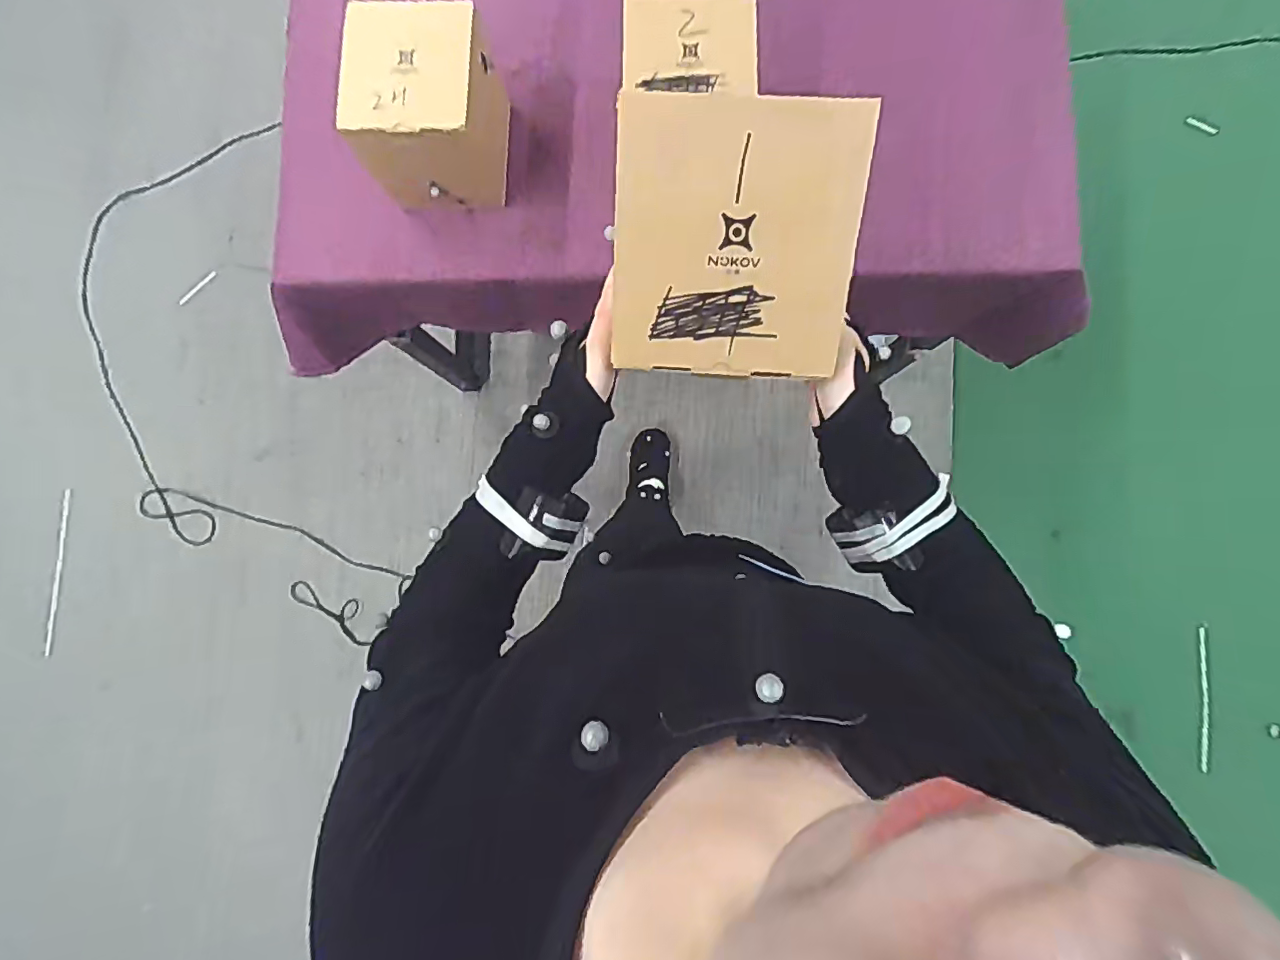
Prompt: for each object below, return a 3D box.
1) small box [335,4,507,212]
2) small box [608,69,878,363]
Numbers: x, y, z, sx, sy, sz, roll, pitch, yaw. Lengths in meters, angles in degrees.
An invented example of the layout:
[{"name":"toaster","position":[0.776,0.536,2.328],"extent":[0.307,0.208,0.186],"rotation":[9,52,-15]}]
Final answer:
[{"name":"small box","position":[-0.290,-0.506,0.753],"extent":[0.168,0.176,0.179],"rotation":[1,85,3]},{"name":"small box","position":[0.067,-0.199,0.439],"extent":[0.168,0.176,0.179],"rotation":[3,111,2]}]
